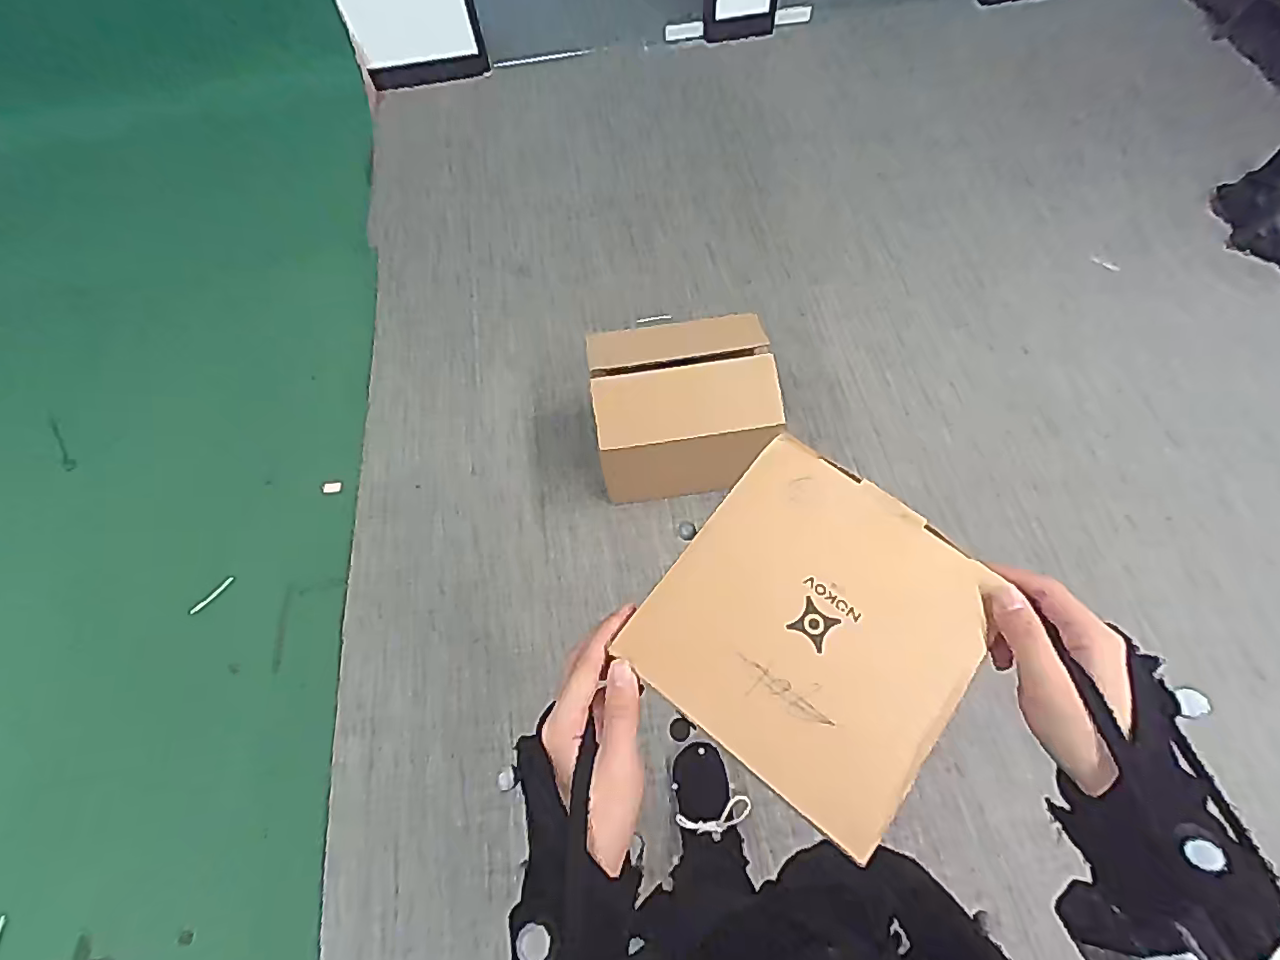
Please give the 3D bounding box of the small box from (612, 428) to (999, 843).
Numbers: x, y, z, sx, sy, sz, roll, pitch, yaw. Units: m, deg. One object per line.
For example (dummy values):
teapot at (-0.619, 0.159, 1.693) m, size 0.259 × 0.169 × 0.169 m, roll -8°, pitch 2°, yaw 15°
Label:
small box at (0.097, 0.101, 0.387) m, size 0.168 × 0.176 × 0.179 m, roll 36°, pitch 75°, yaw 13°
